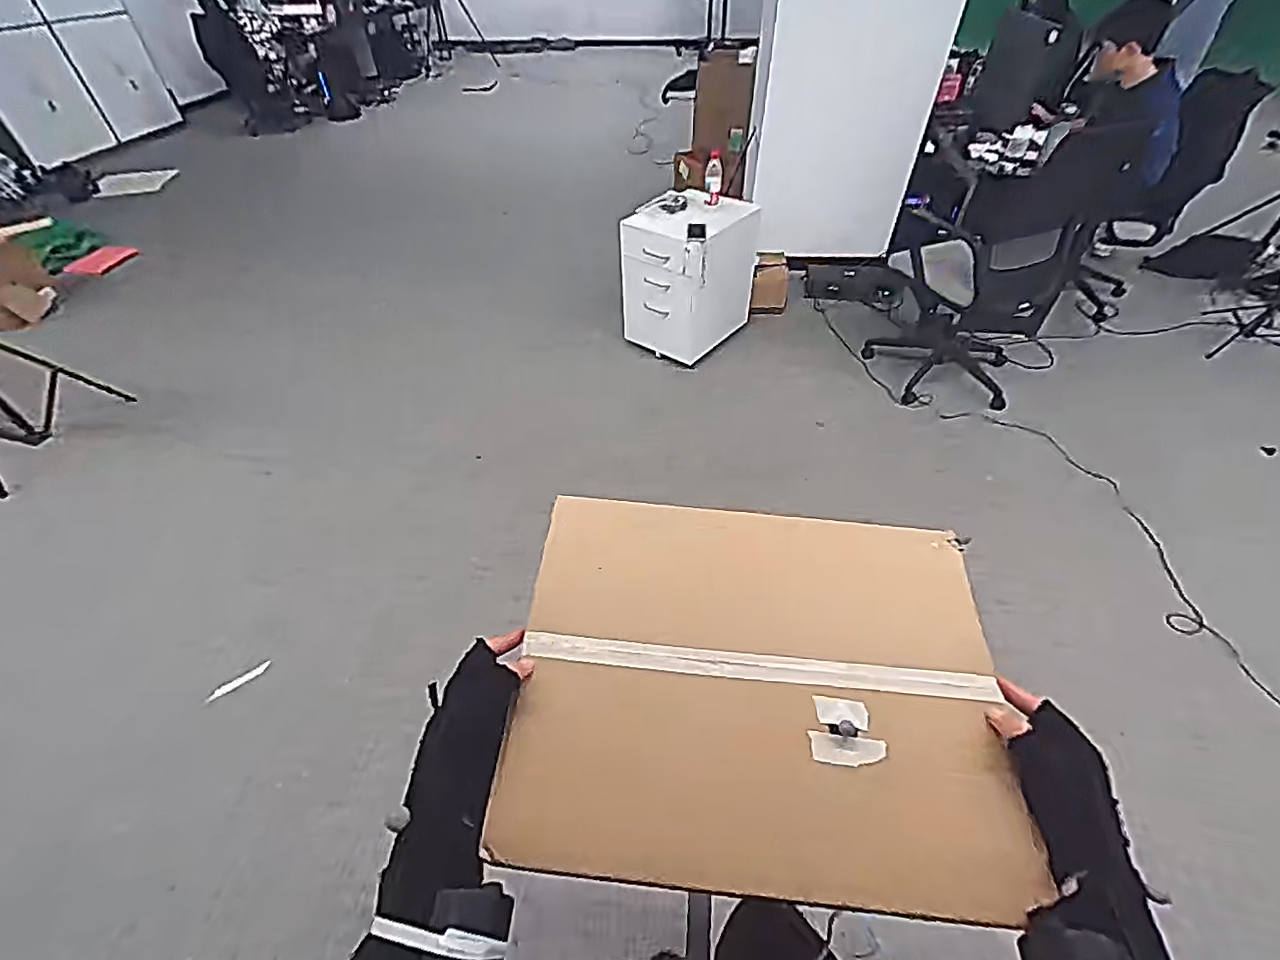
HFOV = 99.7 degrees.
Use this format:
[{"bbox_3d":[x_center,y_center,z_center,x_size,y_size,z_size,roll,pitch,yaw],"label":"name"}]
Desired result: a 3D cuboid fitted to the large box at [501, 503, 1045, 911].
[{"bbox_3d":[0.101,0.250,0.596,0.408,0.320,0.320,6,55,2],"label":"large box"}]
